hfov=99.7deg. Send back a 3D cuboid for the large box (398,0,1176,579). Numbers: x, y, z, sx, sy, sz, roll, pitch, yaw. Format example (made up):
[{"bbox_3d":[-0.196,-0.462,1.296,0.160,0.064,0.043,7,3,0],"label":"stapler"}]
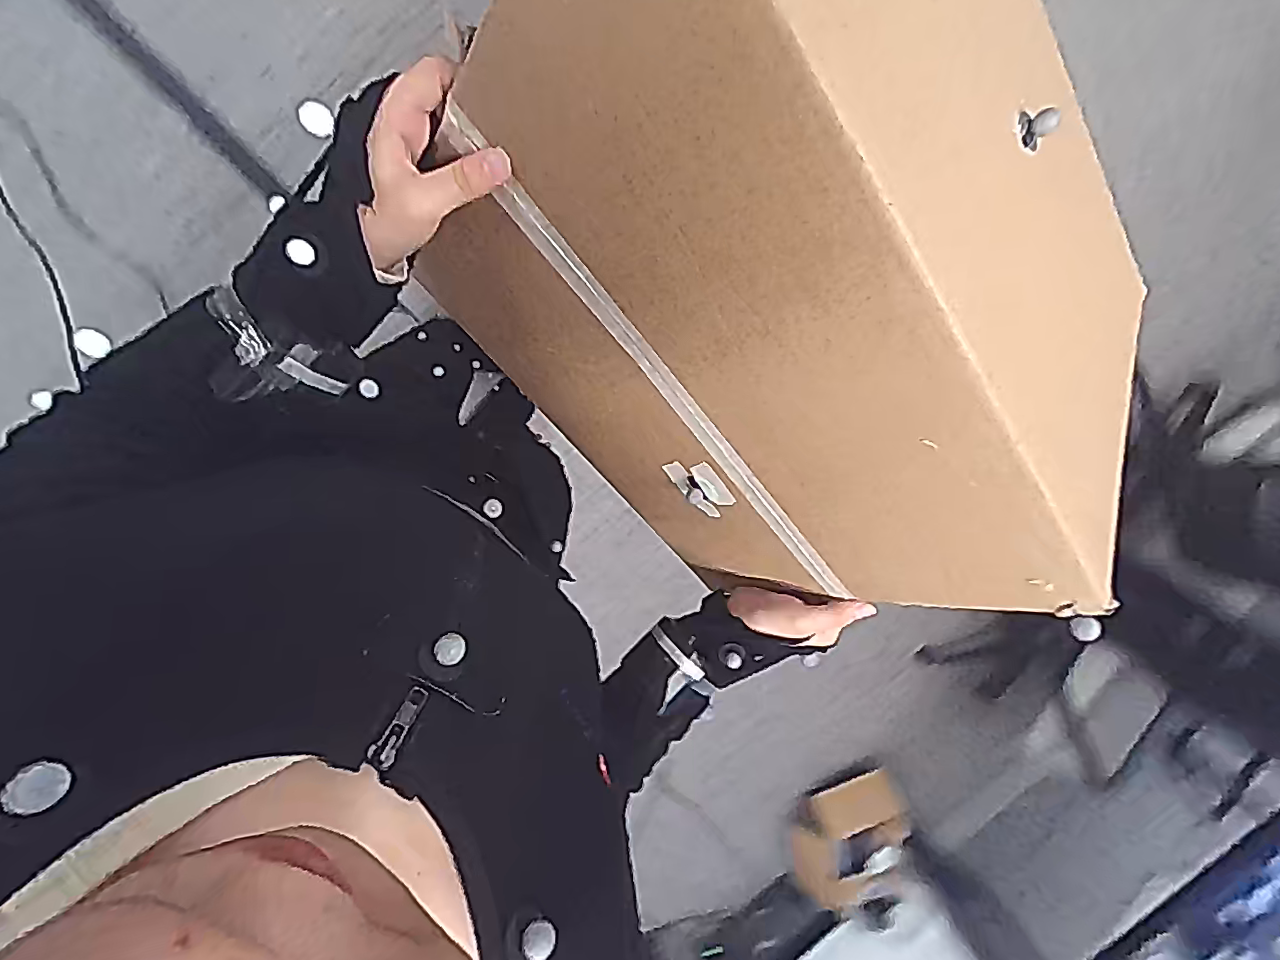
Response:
[{"bbox_3d":[0.117,-0.175,0.392,0.408,0.320,0.320,45,62,-21],"label":"large box"}]
